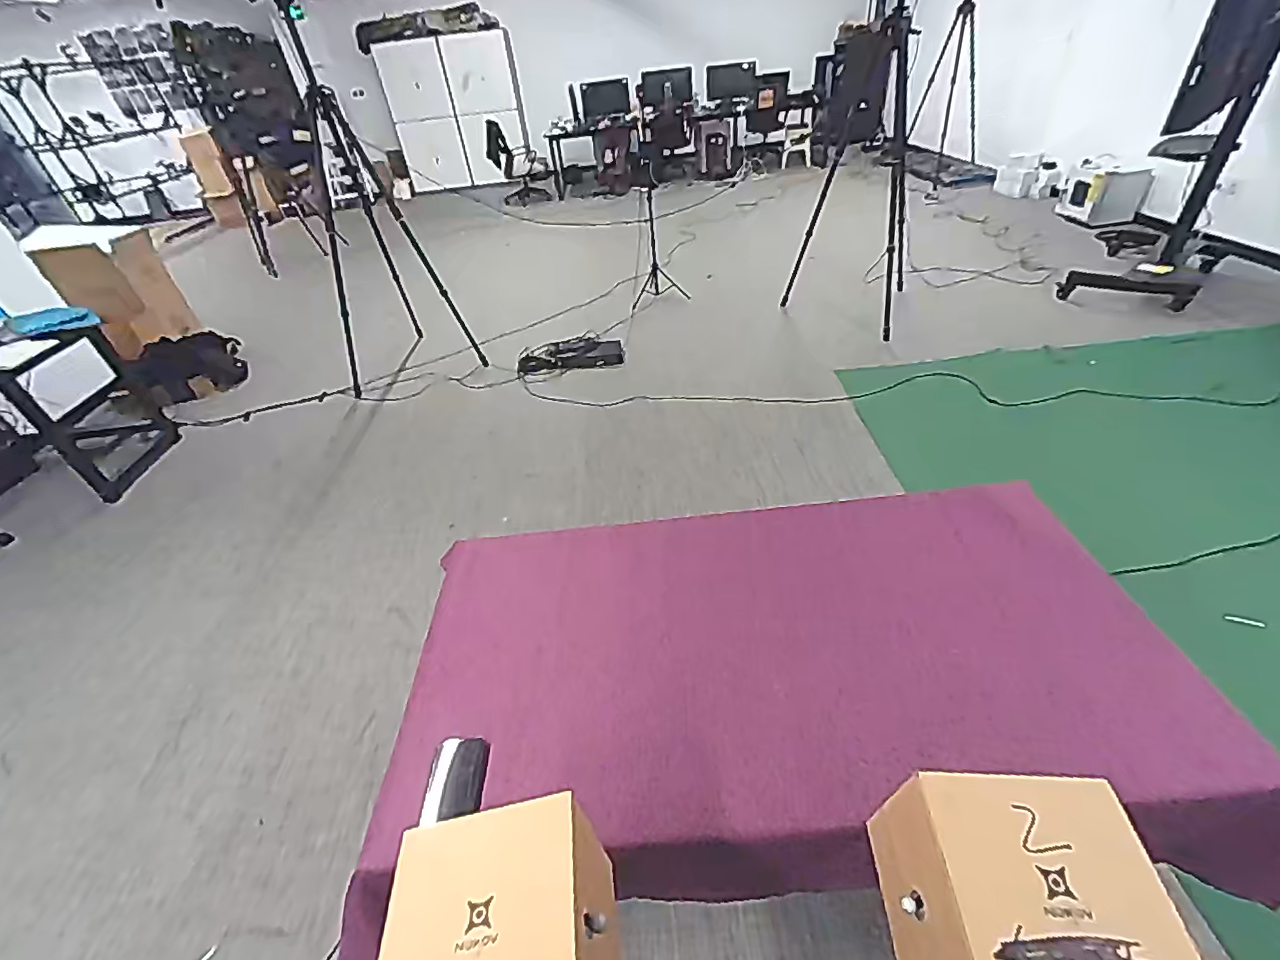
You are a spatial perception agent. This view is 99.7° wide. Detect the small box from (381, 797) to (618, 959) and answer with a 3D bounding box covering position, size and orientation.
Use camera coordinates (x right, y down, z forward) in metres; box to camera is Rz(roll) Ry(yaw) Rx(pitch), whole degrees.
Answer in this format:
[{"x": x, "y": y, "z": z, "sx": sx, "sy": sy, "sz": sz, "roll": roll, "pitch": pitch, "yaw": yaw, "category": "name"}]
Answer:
[{"x": -0.115, "y": 0.427, "z": 0.486, "sx": 0.168, "sy": 0.176, "sz": 0.179, "roll": -12, "pitch": 36, "yaw": 0, "category": "small box"}]
